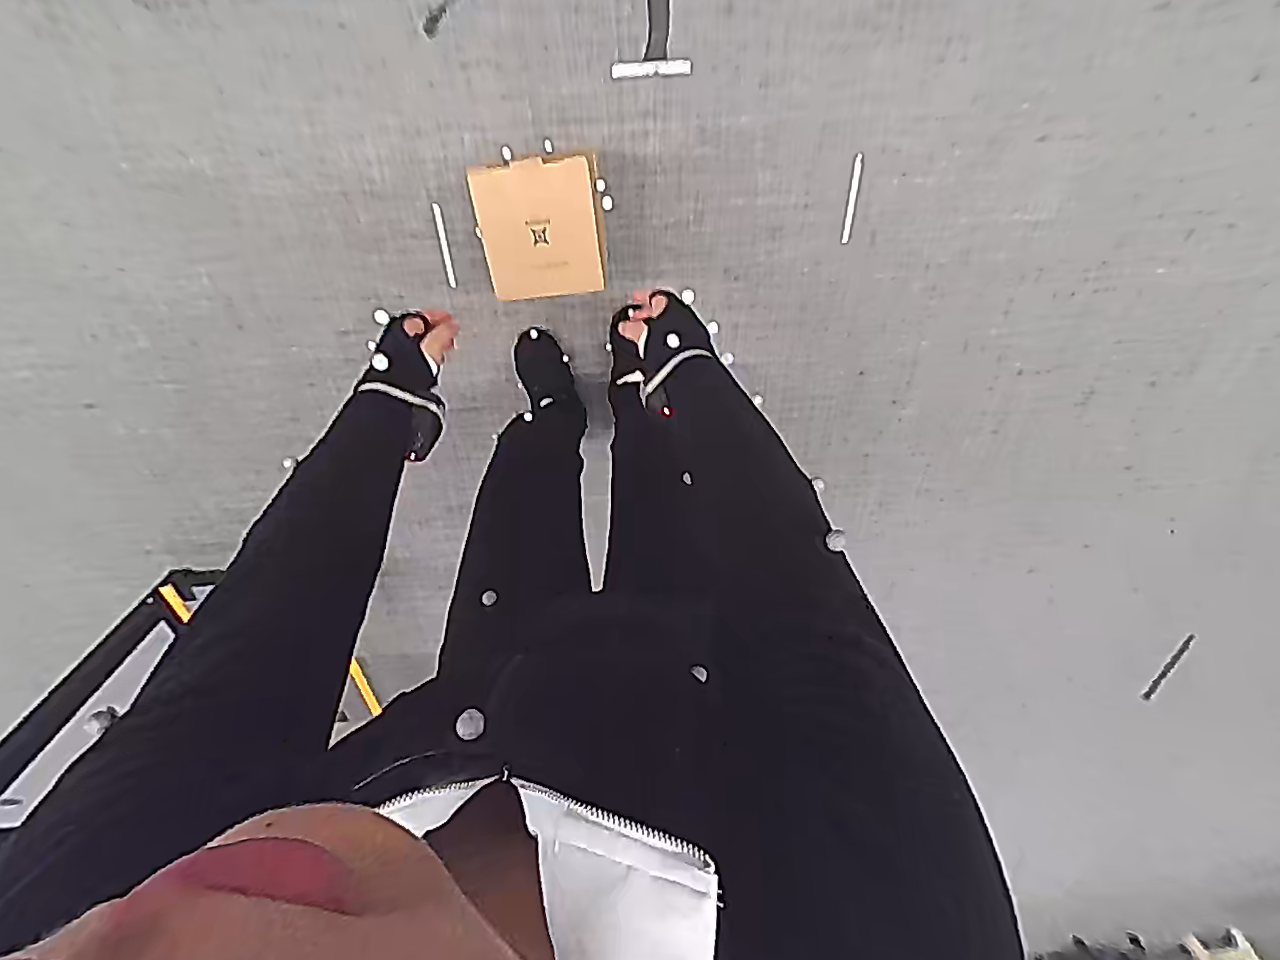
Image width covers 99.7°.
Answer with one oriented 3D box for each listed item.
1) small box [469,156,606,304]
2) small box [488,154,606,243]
[{"bbox_3d":[-0.145,-0.391,0.835,0.168,0.176,0.179,-6,125,3],"label":"small box"},{"bbox_3d":[-0.155,-0.482,0.969,0.179,0.176,0.168,-5,124,0],"label":"small box"}]
